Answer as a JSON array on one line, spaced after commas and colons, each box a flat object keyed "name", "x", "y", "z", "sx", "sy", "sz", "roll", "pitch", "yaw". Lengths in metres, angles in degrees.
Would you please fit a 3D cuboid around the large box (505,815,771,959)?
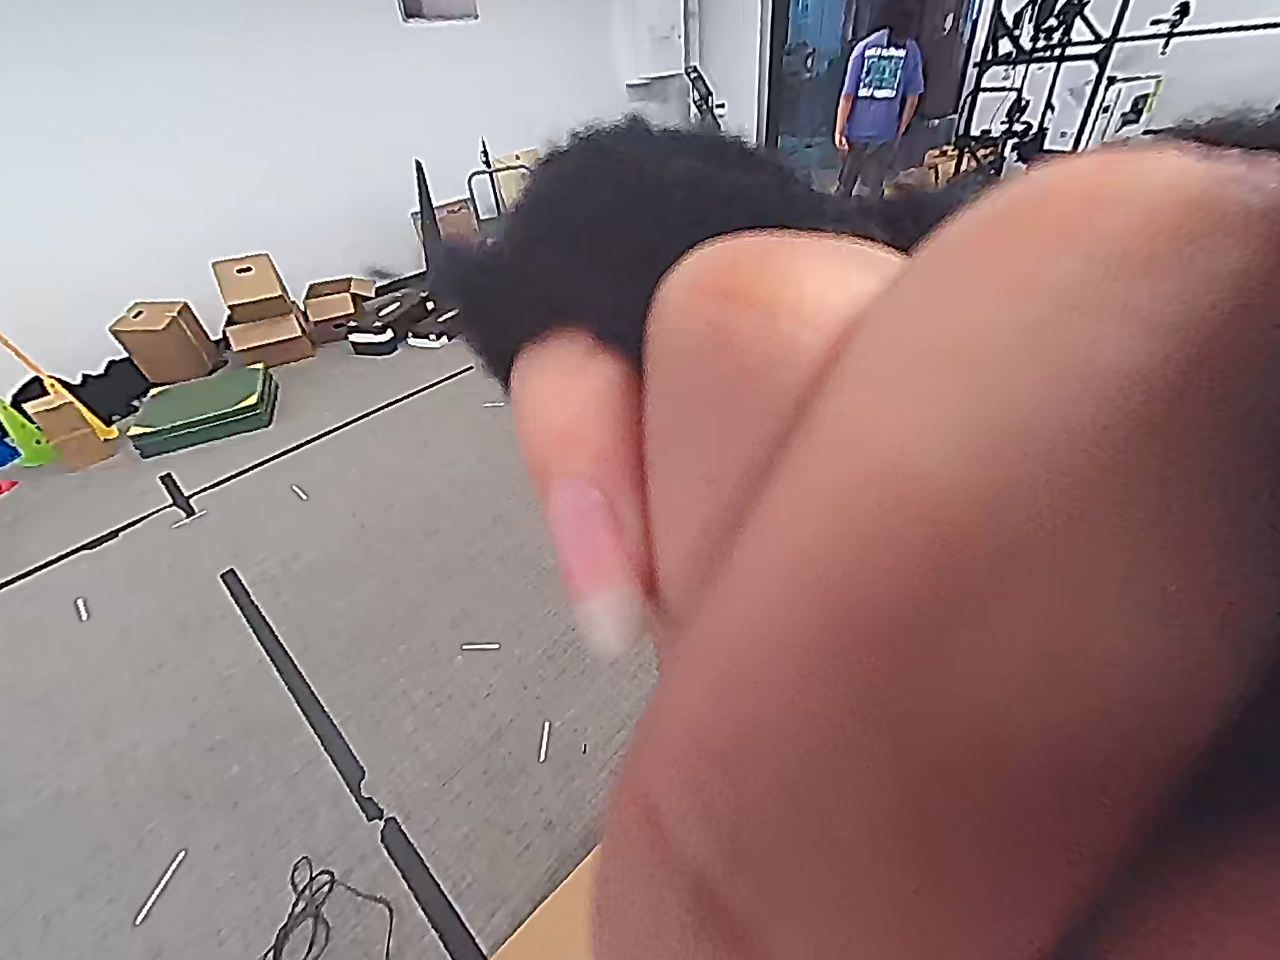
[{"name": "large box", "x": -0.023, "y": 0.899, "z": 0.919, "sx": 0.408, "sy": 0.320, "sz": 0.320, "roll": -33, "pitch": 43, "yaw": -30}]
